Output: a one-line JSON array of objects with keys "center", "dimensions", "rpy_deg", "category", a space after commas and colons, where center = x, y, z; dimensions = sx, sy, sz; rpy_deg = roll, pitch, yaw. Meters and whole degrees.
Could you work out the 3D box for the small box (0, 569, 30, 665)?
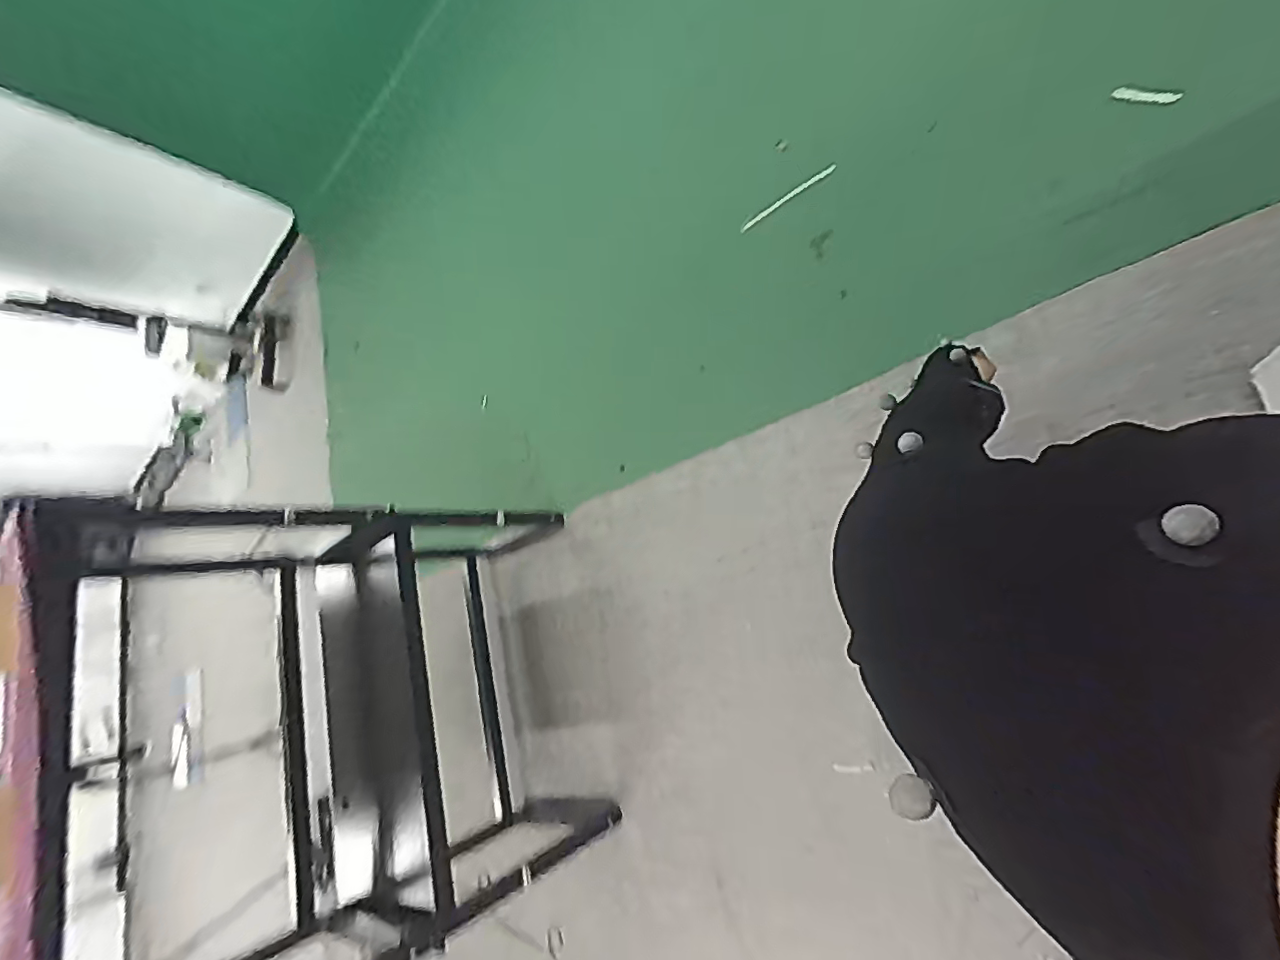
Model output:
[{"center": [-1.327, 0.283, 1.058], "dimensions": [0.168, 0.176, 0.179], "rpy_deg": [-23, 74, 38], "category": "small box"}]
